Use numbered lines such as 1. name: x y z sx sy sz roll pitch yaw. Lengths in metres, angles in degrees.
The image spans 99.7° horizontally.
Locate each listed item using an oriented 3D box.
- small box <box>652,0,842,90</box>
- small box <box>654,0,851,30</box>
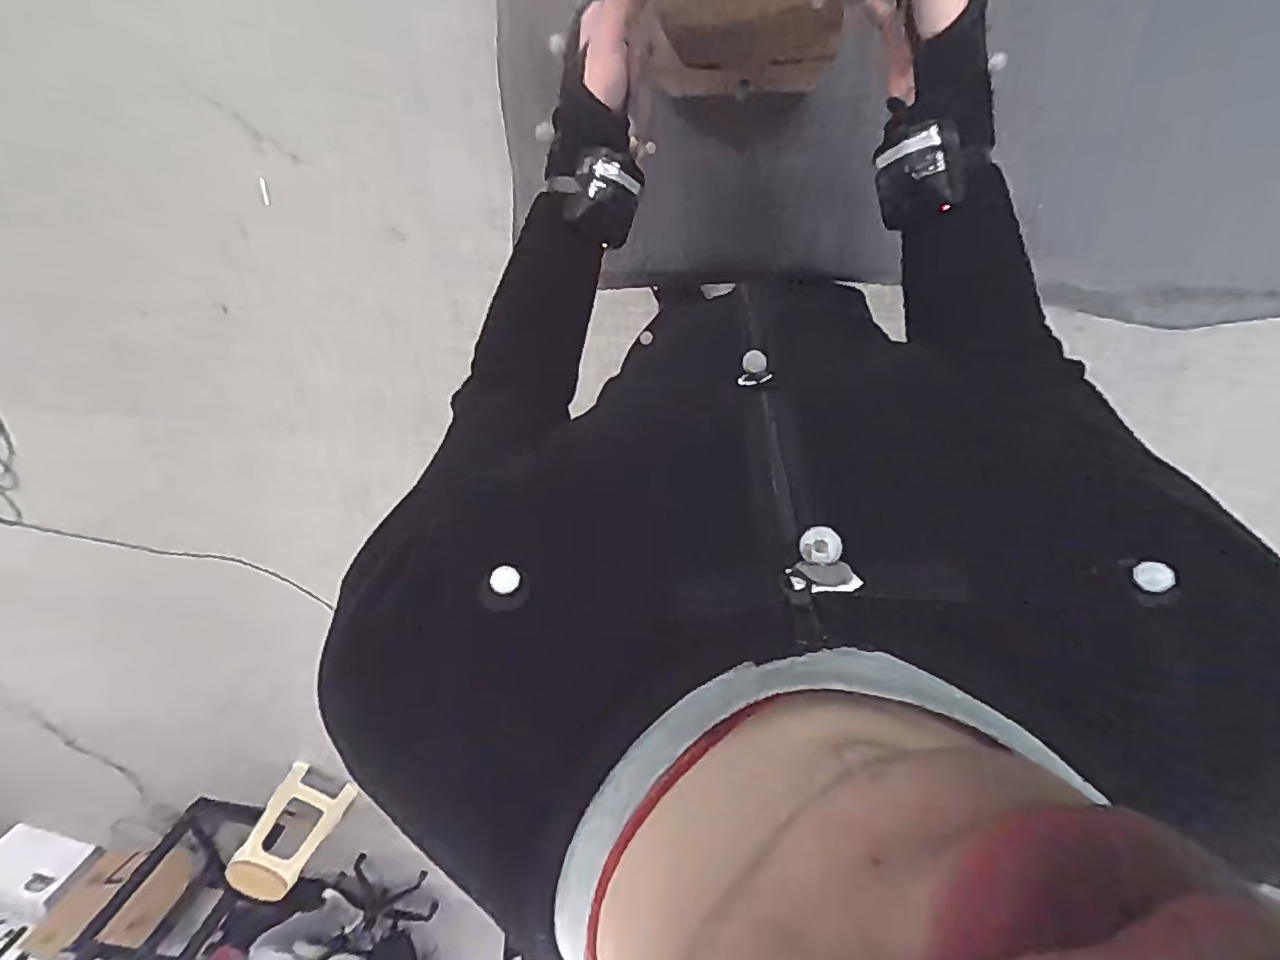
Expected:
1. small box: 0.102 -0.483 0.511 0.168 0.176 0.179 3 119 7
2. small box: 0.082 -0.430 0.356 0.168 0.176 0.179 -3 116 9
